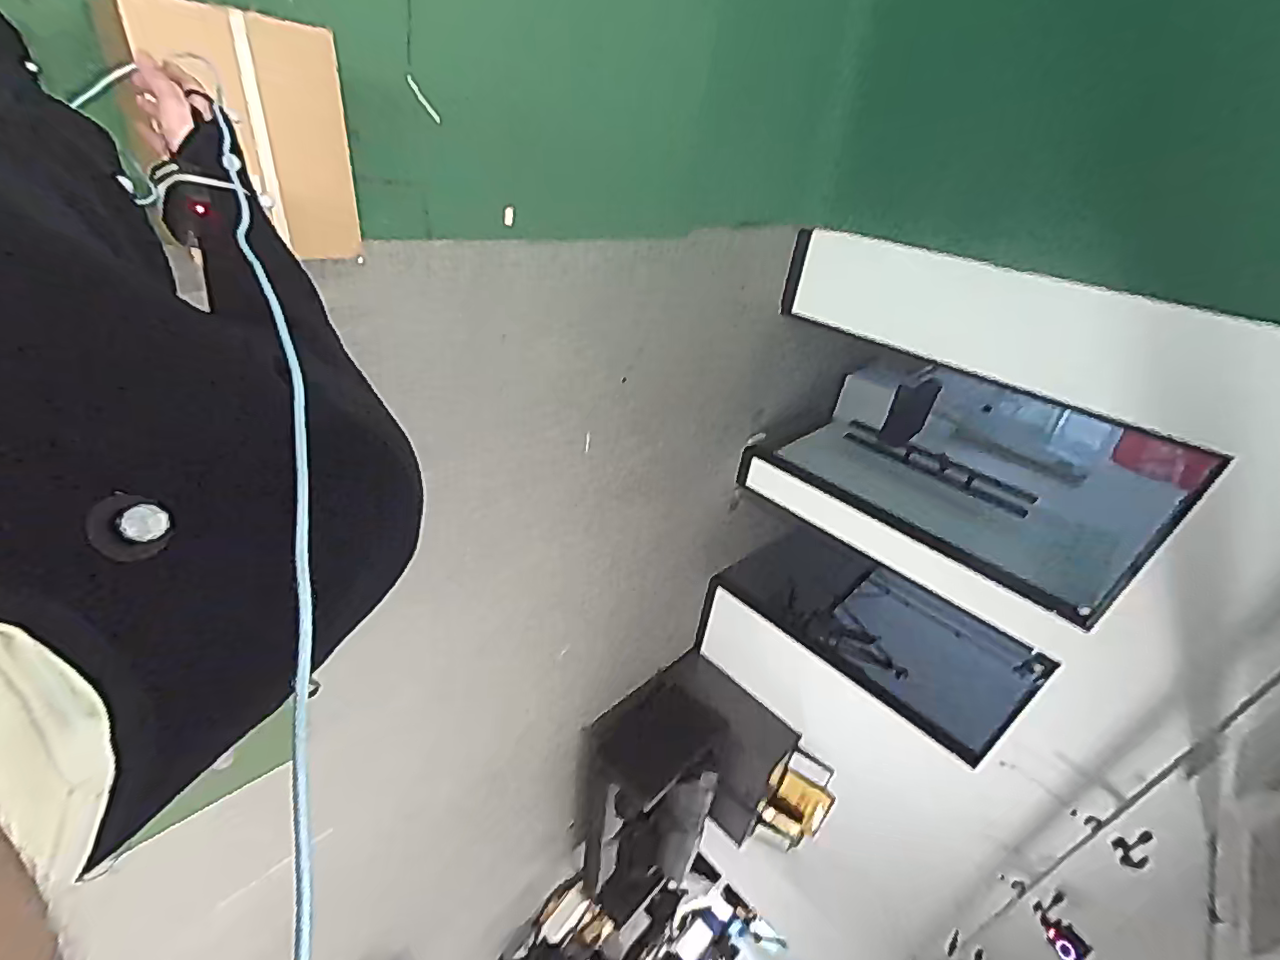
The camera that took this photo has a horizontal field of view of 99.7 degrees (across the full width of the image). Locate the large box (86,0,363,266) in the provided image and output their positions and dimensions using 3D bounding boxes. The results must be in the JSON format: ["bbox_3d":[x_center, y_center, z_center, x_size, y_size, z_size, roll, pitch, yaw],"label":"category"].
[{"bbox_3d":[-0.821,-0.693,1.105,0.320,0.320,0.408,-24,135,-39],"label":"large box"}]
